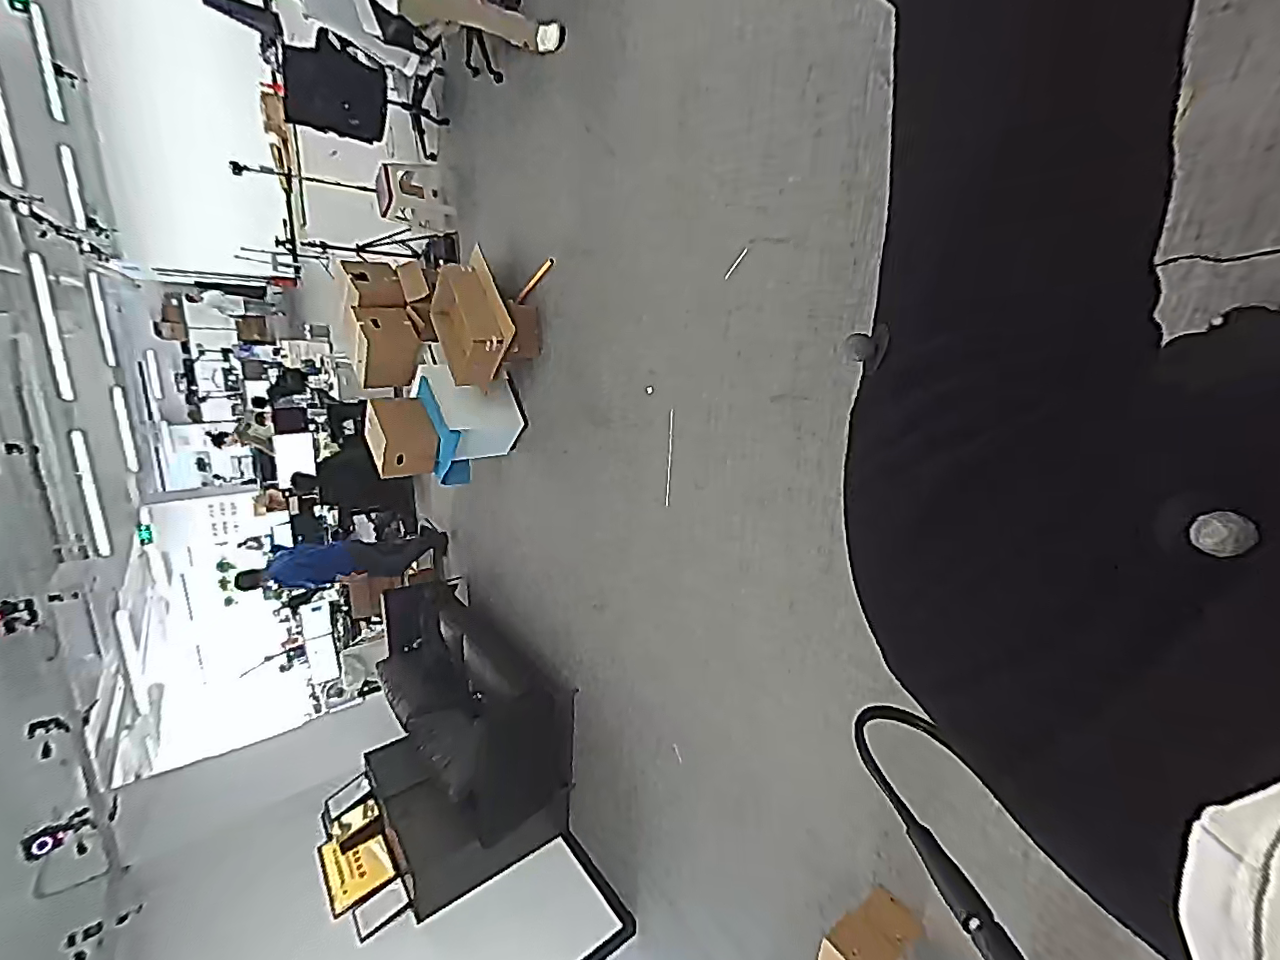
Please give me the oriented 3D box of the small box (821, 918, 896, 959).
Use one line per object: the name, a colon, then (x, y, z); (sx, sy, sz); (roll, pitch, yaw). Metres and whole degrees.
small box: (0.713, 1.603, 1.767); (0.179, 0.176, 0.168); (23, 115, 49)
